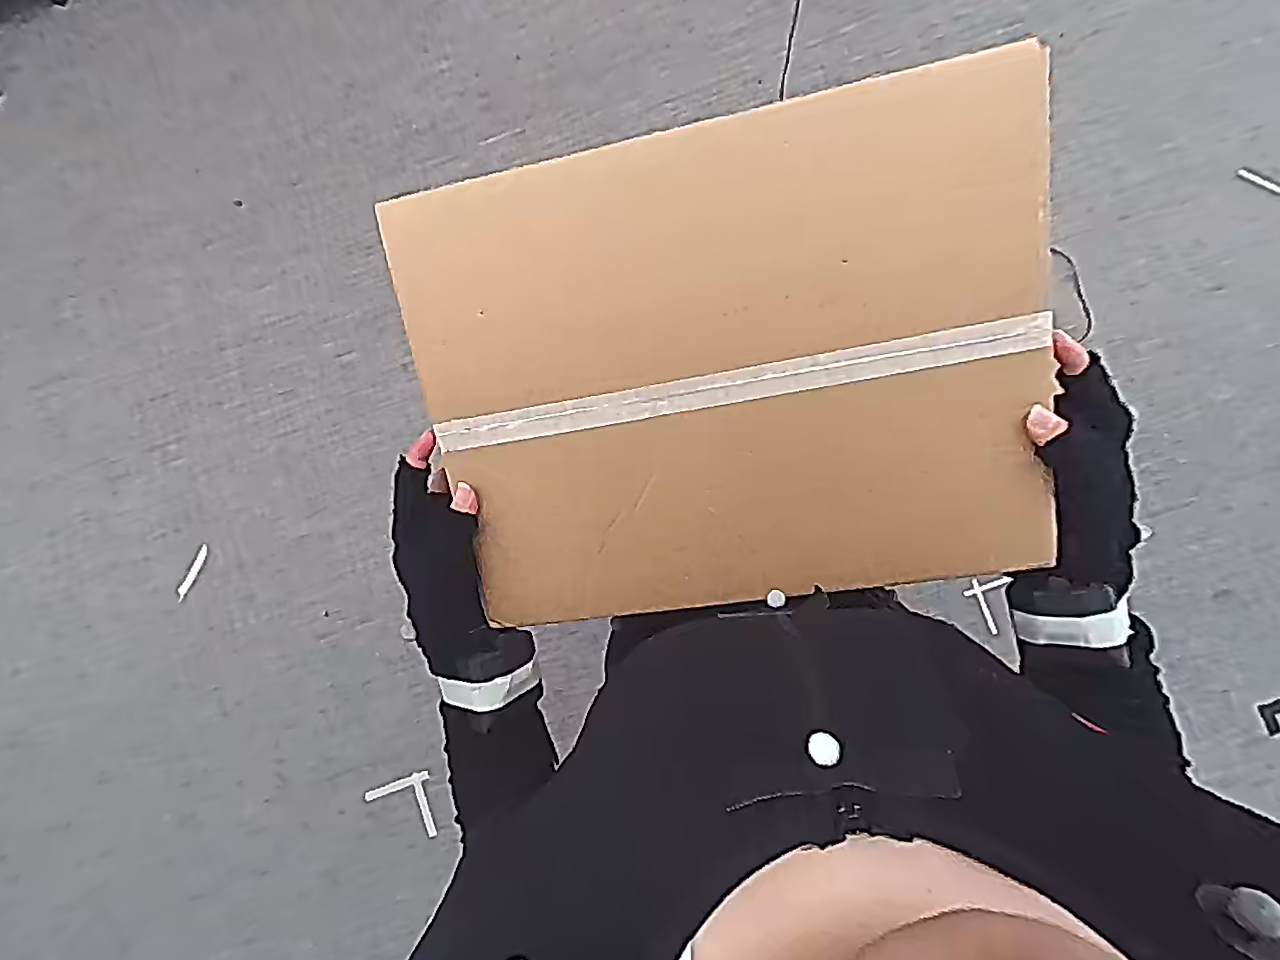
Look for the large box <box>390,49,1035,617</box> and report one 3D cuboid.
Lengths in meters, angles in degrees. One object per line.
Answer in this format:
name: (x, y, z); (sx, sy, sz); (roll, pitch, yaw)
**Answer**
large box: (0.069, -0.105, 0.510); (0.408, 0.320, 0.320); (-9, 103, 9)
